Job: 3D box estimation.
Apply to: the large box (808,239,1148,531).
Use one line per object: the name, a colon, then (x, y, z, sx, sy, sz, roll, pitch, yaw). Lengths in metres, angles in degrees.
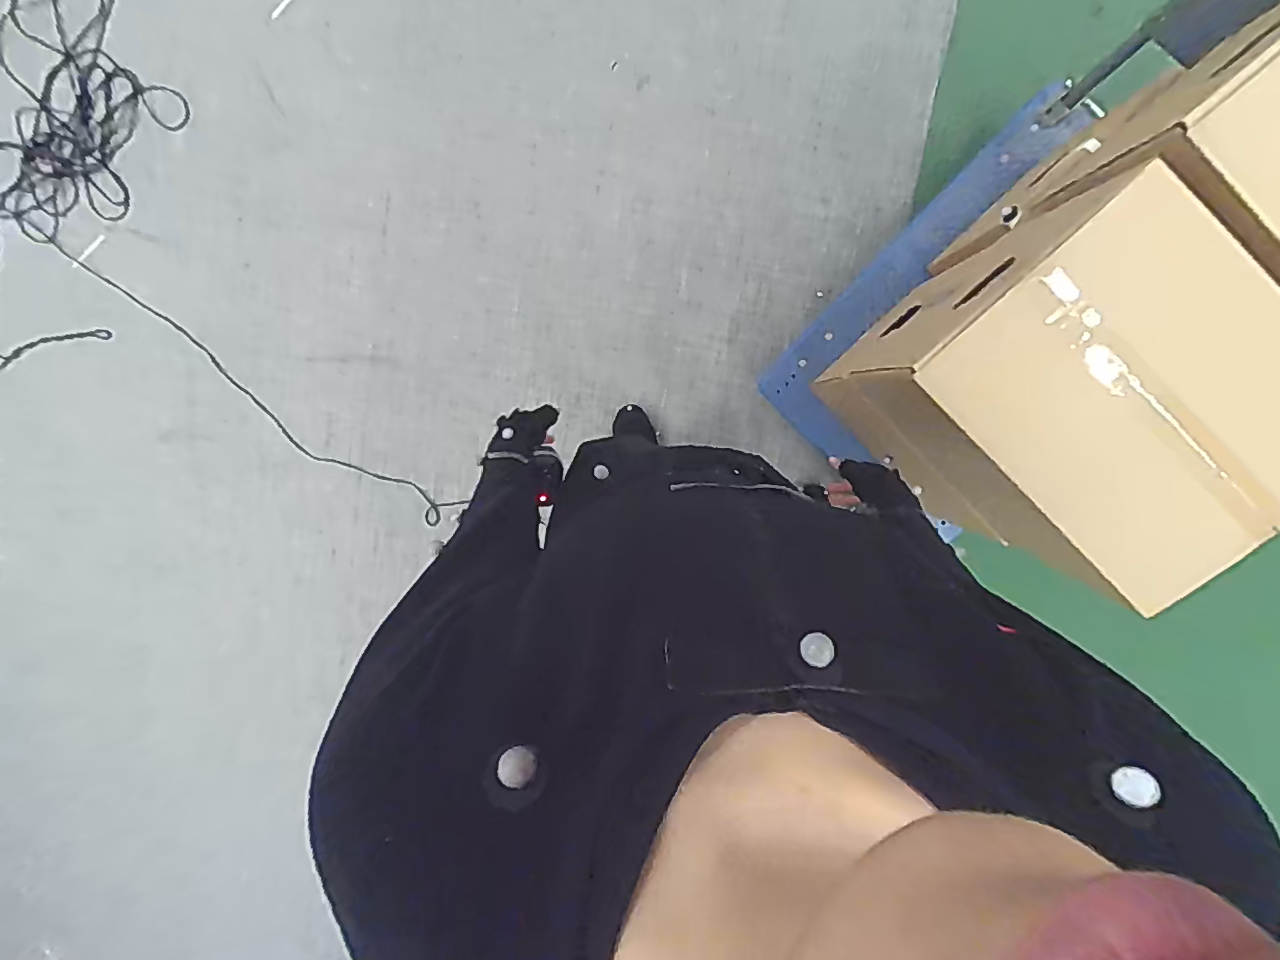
large box: (0.602, -0.167, 1.050, 0.320, 0.320, 0.408, -44, 90, 7)
